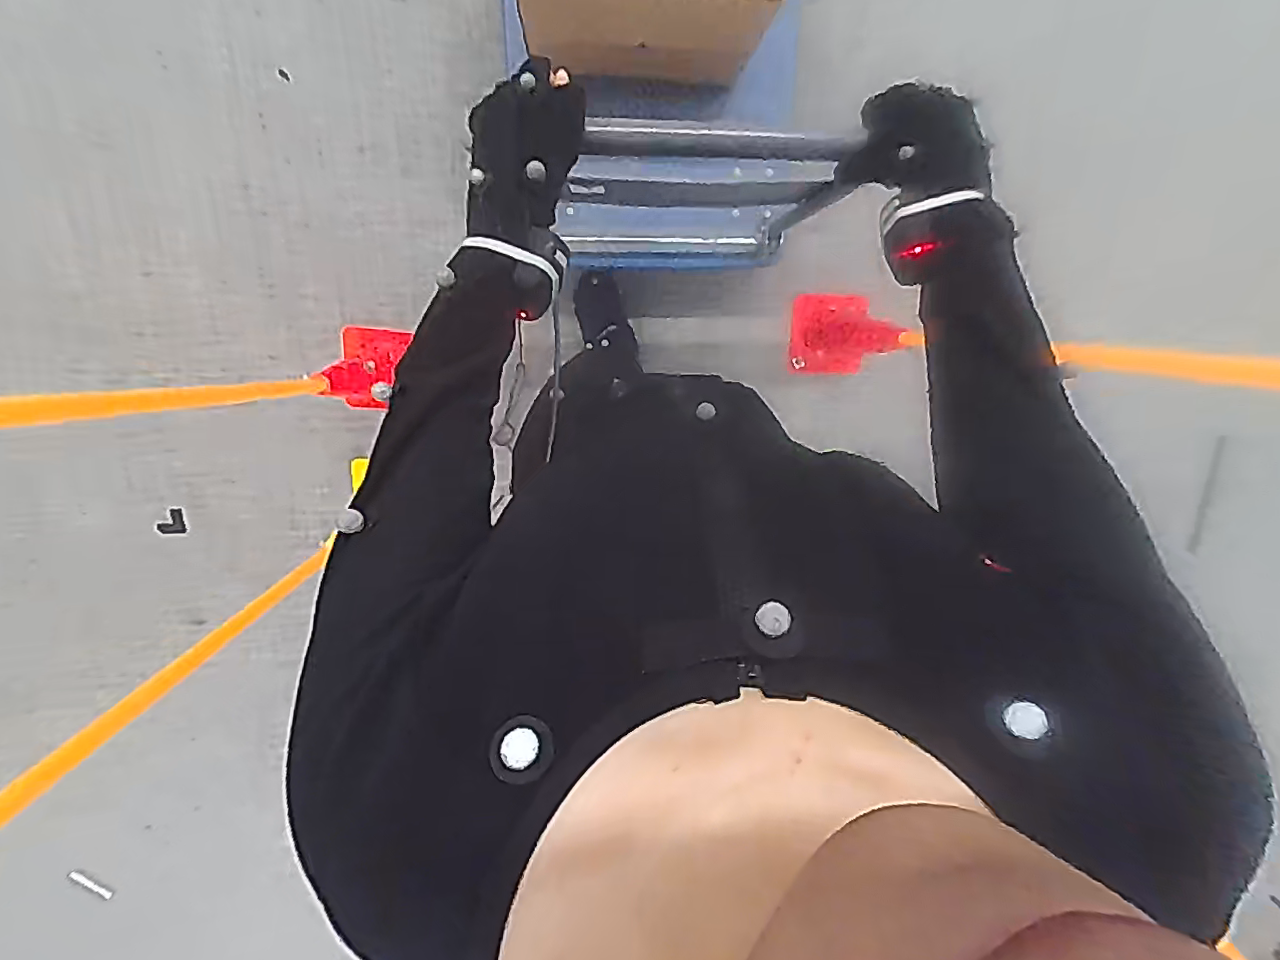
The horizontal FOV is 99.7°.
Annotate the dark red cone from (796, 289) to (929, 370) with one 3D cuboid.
[{"bbox_3d":[0.519,-0.340,1.231,0.201,0.394,0.202,-2,106,-6],"label":"dark red cone"}]

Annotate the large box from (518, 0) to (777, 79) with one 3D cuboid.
[{"bbox_3d":[0.006,-0.910,0.896,0.408,0.320,0.320,0,106,-5],"label":"large box"}]

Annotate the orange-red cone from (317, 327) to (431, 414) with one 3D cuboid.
[{"bbox_3d":[-0.609,-0.229,1.184,0.198,0.360,0.199,5,103,-8],"label":"orange-red cone"}]
